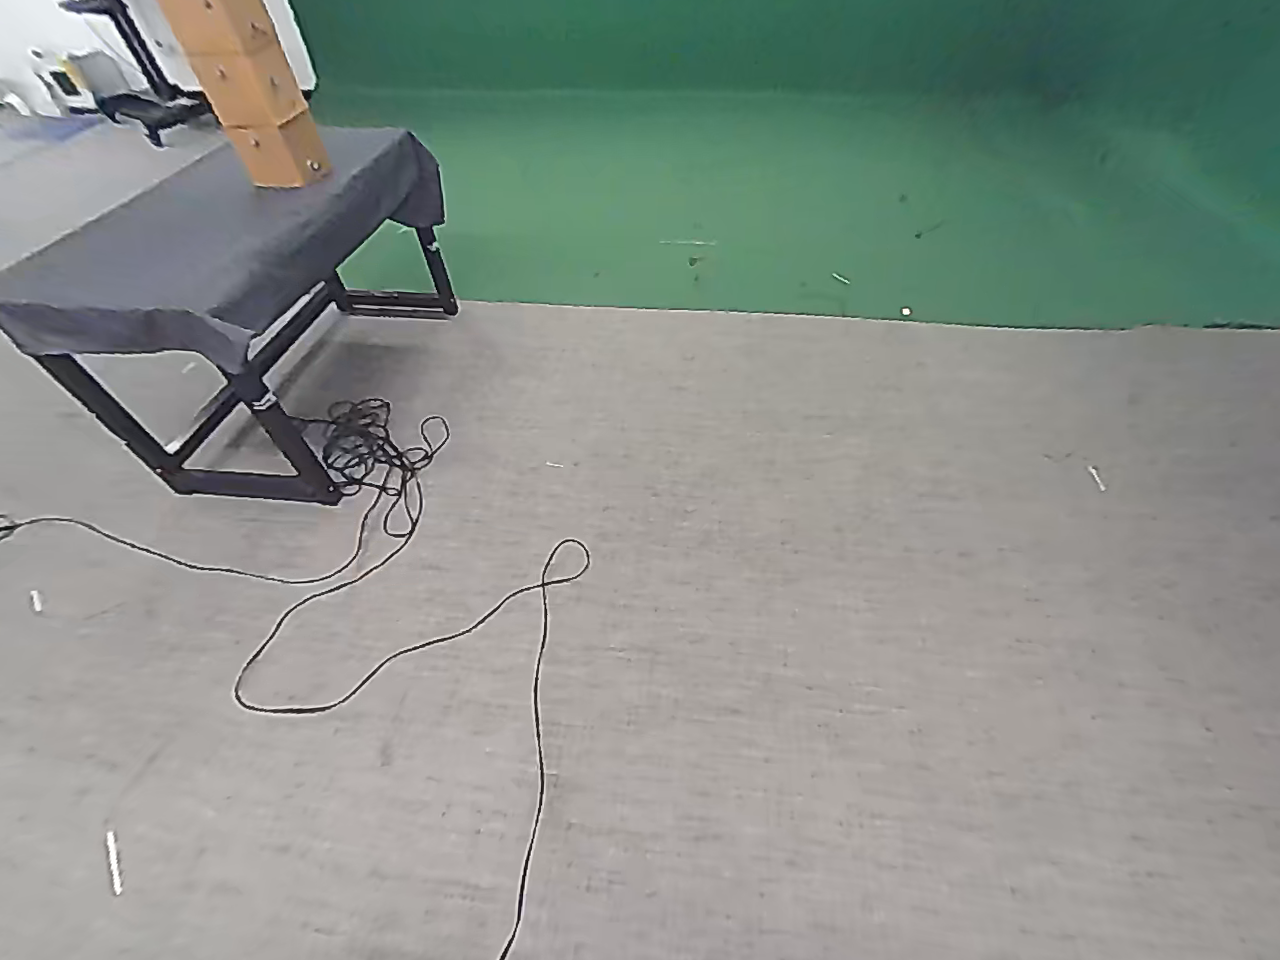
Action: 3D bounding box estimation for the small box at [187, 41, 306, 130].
[{"bbox_3d":[-1.084,-1.099,1.510,0.179,0.176,0.168,4,50,6],"label":"small box"}]

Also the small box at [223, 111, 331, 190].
[{"bbox_3d":[-1.087,-0.997,1.637,0.179,0.176,0.168,5,51,6],"label":"small box"}]
